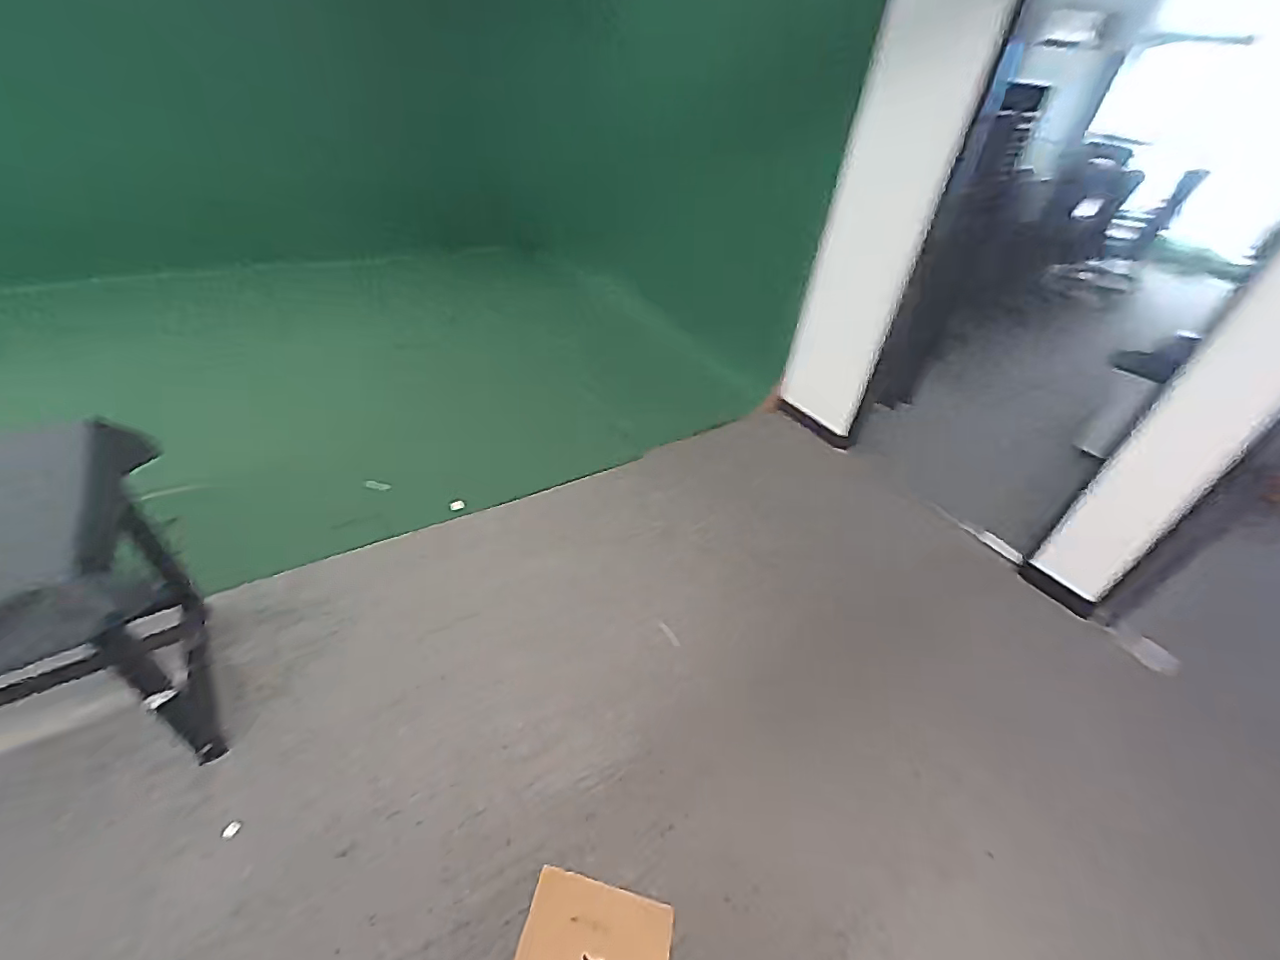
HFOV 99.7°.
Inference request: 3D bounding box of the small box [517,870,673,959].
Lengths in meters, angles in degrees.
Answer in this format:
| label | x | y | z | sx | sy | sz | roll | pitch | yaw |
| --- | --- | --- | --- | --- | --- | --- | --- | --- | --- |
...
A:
| label | x | y | z | sx | sy | sz | roll | pitch | yaw |
| --- | --- | --- | --- | --- | --- | --- | --- | --- | --- |
| small box | -0.069 | 0.598 | 0.611 | 0.168 | 0.176 | 0.179 | 16 | 27 | 1 |
